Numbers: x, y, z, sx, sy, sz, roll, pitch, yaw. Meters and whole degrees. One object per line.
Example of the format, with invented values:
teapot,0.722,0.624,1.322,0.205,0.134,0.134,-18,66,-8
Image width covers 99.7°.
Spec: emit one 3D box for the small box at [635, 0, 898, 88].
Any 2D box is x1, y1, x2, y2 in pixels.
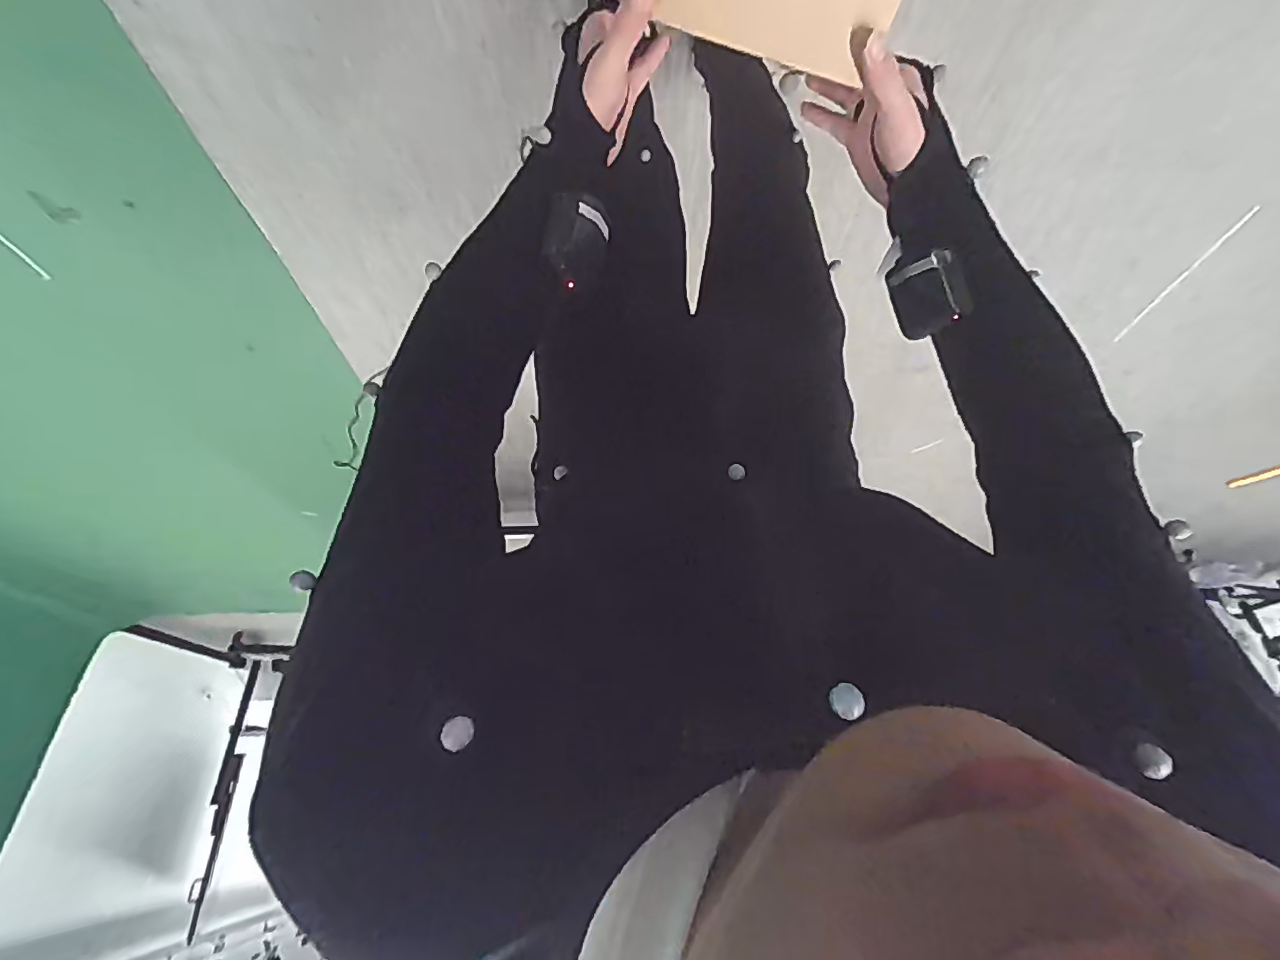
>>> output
small box,0.101,-0.427,0.406,0.179,0.176,0.168,9,131,-12
